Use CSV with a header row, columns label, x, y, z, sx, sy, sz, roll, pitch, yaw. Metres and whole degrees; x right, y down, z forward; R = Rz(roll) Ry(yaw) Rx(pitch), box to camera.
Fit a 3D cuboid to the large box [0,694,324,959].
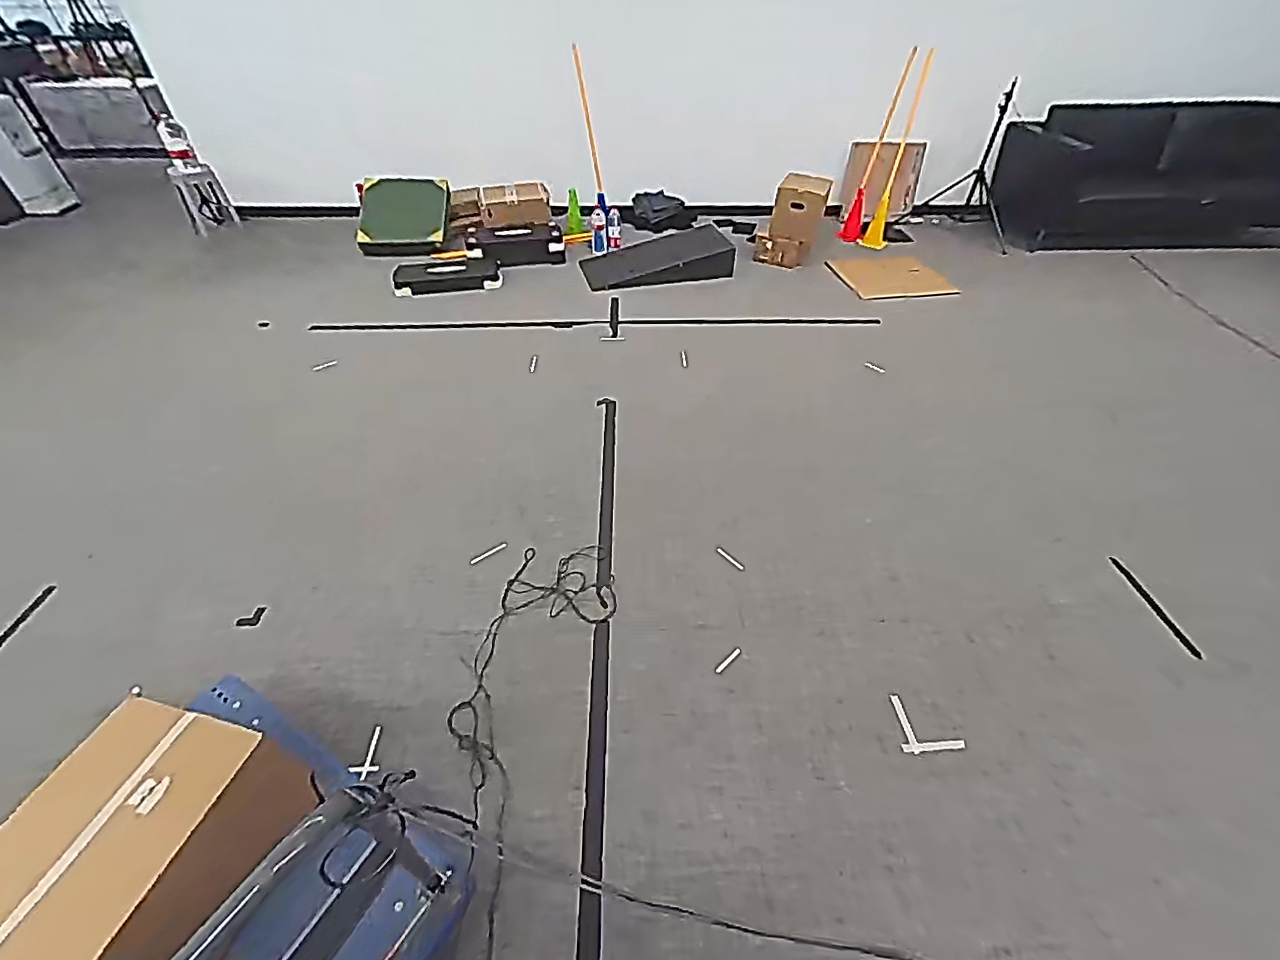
label,x,y,z,sx,sy,sz,roll,pitch,yaw
large box,-0.896,0.687,0.998,0.320,0.320,0.408,11,44,10
